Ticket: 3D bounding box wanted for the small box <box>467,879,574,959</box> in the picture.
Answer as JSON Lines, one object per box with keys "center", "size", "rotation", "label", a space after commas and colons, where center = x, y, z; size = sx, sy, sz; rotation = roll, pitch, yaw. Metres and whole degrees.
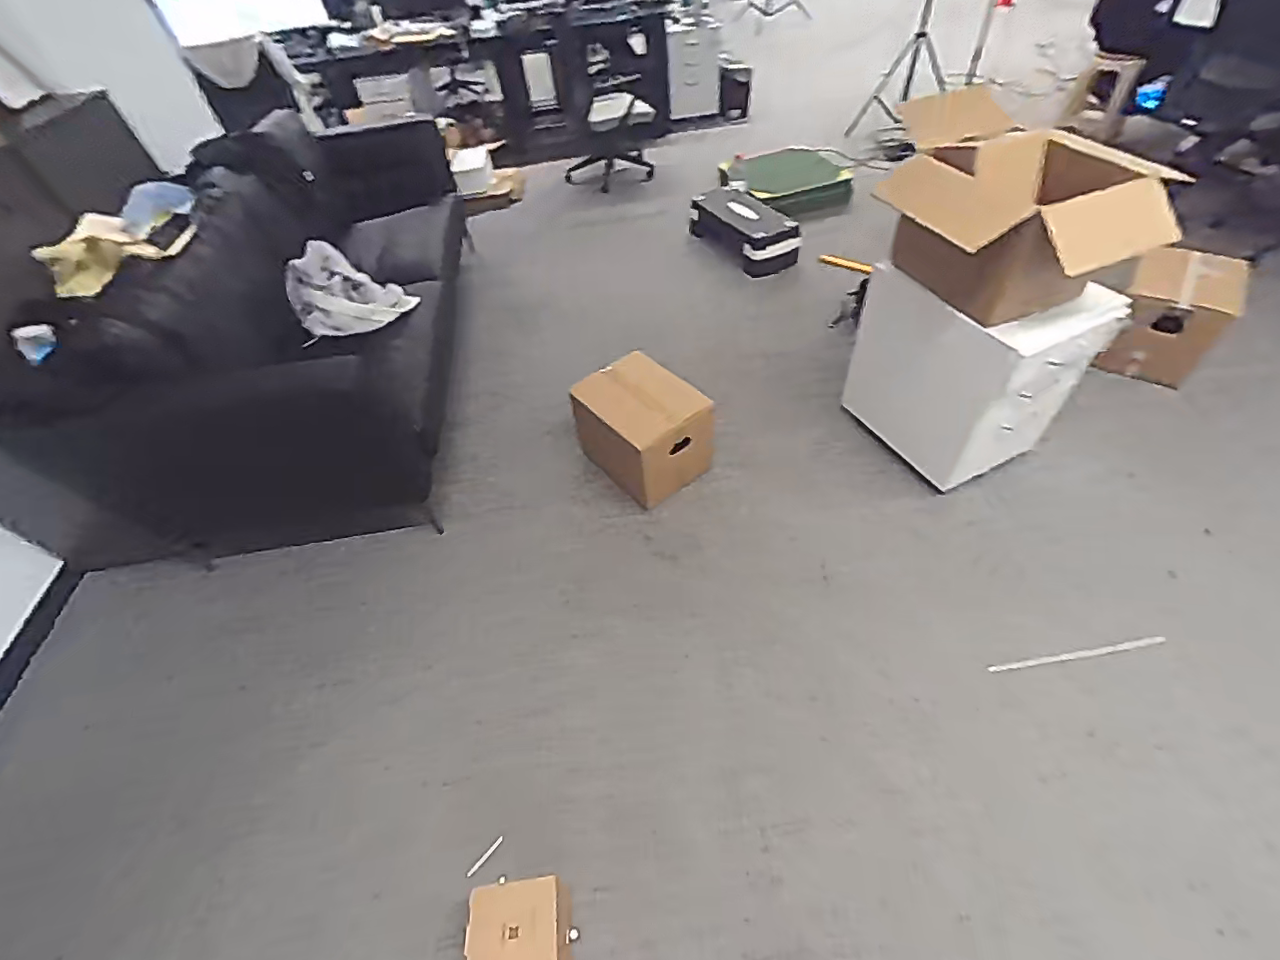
{"center": [-0.235, 0.925, 1.091], "size": [0.179, 0.176, 0.168], "rotation": [-8, 50, -1], "label": "small box"}
